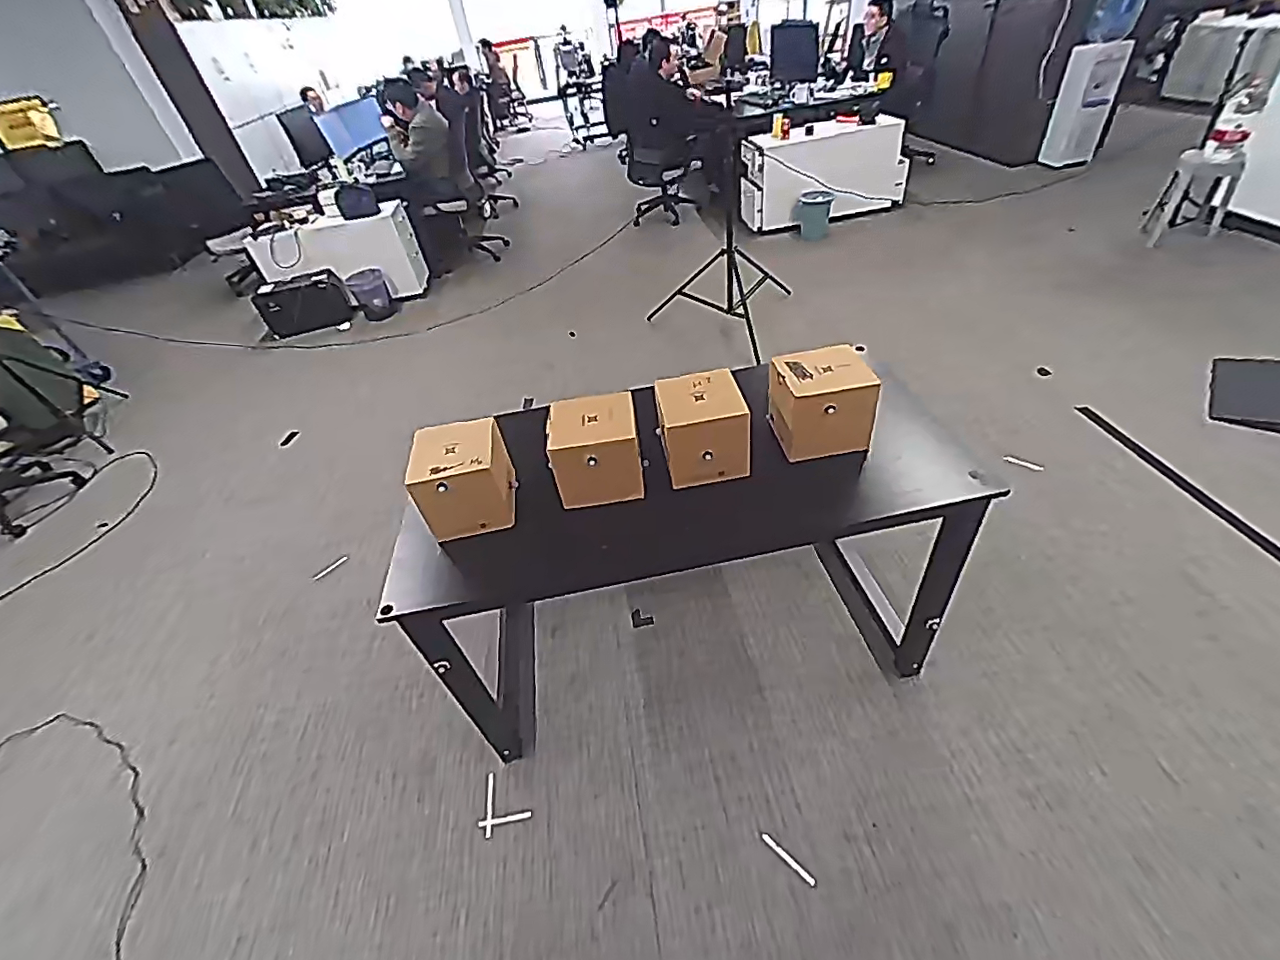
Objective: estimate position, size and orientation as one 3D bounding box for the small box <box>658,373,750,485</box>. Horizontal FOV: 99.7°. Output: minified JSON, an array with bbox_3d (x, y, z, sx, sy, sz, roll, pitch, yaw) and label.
[{"bbox_3d":[0.138,-0.104,1.164,0.168,0.176,0.179,-10,41,0],"label":"small box"}]

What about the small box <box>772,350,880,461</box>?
[{"bbox_3d":[0.392,-0.158,1.174,0.179,0.176,0.168,-9,41,0],"label":"small box"}]

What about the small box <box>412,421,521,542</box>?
[{"bbox_3d":[-0.356,0.002,1.143,0.168,0.176,0.179,-12,41,-2],"label":"small box"}]
